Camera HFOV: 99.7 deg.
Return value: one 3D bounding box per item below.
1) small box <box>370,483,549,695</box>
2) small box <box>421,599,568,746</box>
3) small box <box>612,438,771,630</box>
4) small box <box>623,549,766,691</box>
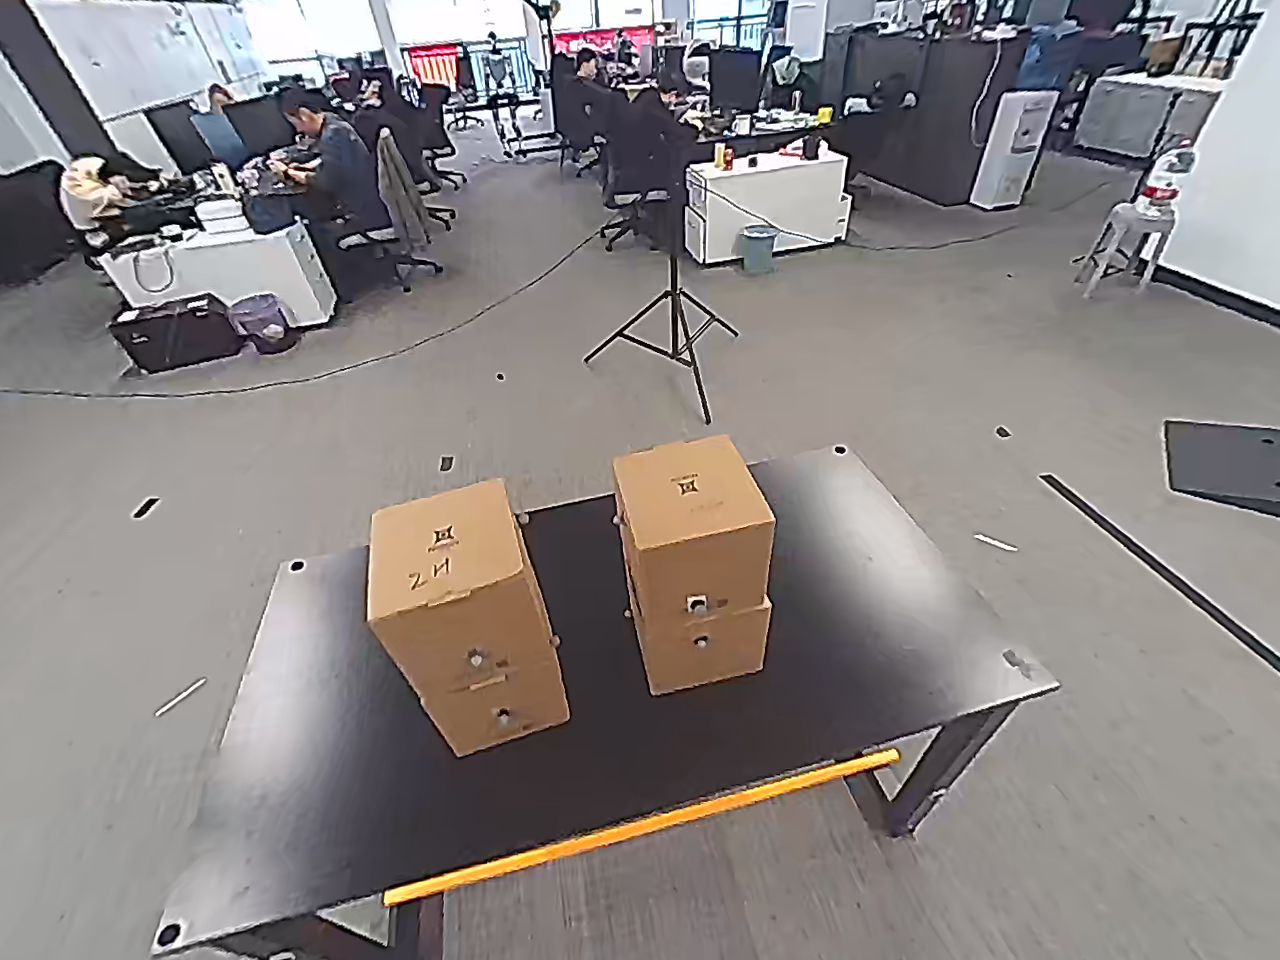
[{"bbox_3d":[-0.223,0.136,0.688,0.168,0.176,0.179,-16,42,-11],"label":"small box"},{"bbox_3d":[-0.210,0.263,0.794,0.168,0.176,0.179,-15,42,-11],"label":"small box"},{"bbox_3d":[0.063,0.072,0.733,0.168,0.176,0.179,-13,42,-6],"label":"small box"},{"bbox_3d":[0.079,0.199,0.833,0.179,0.176,0.168,-11,41,-7],"label":"small box"}]
